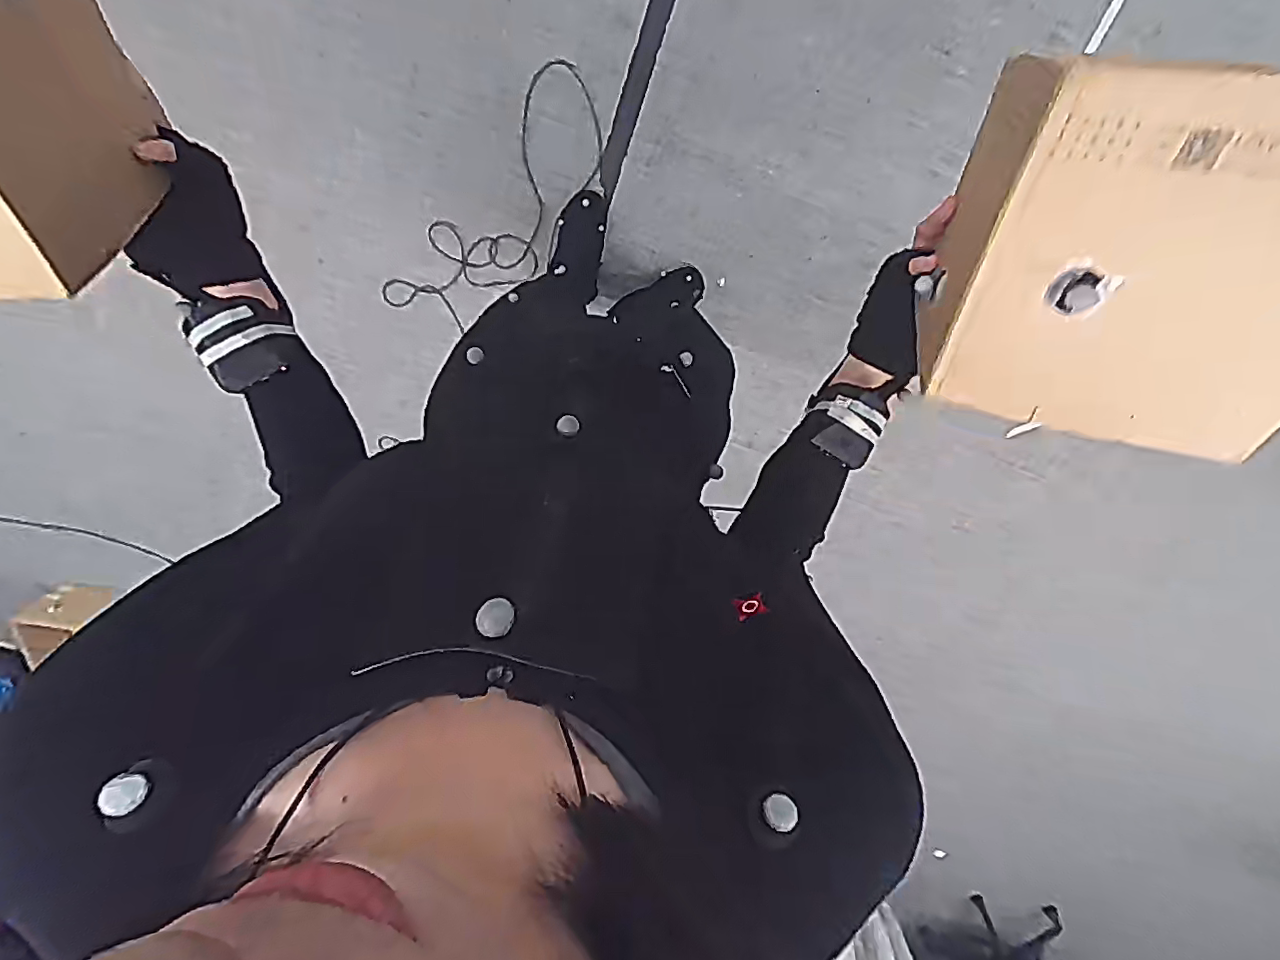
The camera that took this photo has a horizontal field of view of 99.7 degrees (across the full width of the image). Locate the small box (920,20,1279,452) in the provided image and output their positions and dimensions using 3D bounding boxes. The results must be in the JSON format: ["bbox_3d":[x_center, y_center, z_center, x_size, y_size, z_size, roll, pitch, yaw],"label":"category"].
[{"bbox_3d":[0.280,-0.146,0.307,0.168,0.179,0.176,16,131,13],"label":"small box"}]

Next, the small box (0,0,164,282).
[{"bbox_3d":[-0.383,-0.208,0.247,0.168,0.179,0.176,-5,137,-14],"label":"small box"}]
